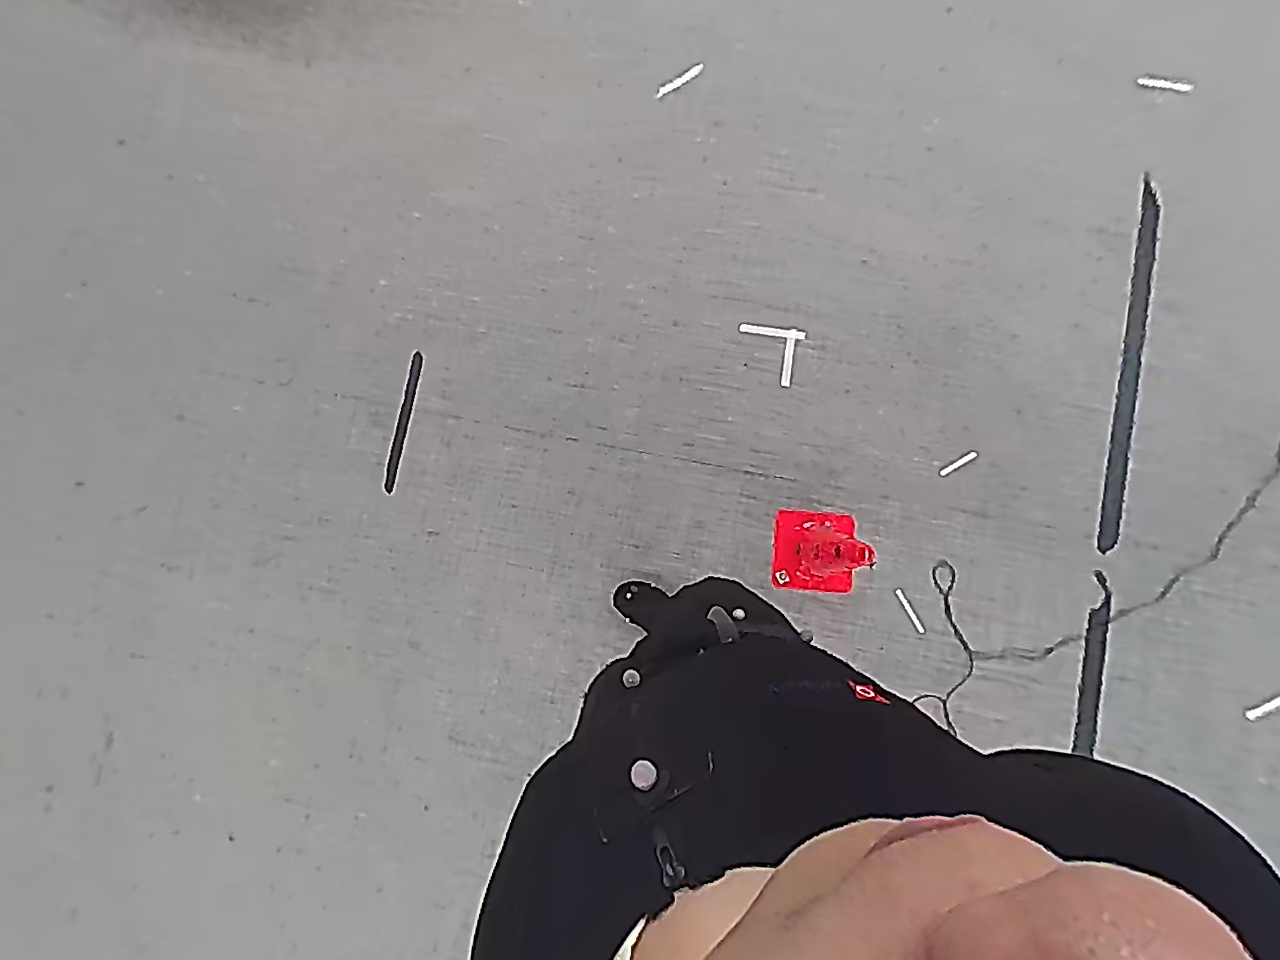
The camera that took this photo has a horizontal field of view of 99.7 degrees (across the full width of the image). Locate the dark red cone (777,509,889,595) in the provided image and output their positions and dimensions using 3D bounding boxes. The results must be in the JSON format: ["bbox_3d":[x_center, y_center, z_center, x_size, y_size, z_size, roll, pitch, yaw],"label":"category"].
[{"bbox_3d":[0.432,0.153,1.160,0.201,0.394,0.202,3,83,2],"label":"dark red cone"}]
